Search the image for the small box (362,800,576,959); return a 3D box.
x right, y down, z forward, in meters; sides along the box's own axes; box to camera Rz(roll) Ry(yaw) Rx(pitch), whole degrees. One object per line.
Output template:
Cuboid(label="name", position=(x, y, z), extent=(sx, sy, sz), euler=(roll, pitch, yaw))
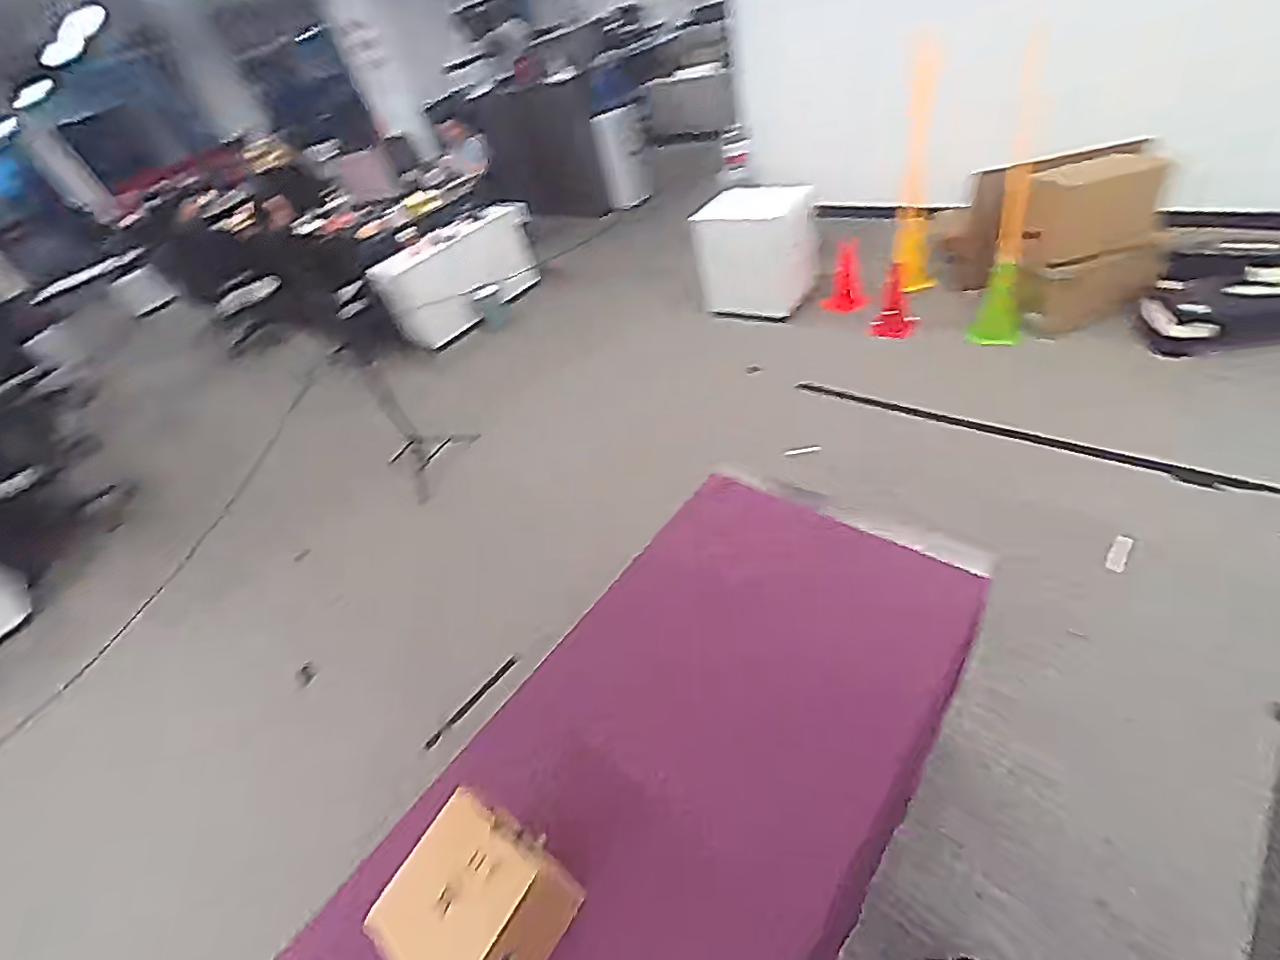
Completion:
Cuboid(label="small box", position=(-0.211, 0.574, 0.710), extent=(0.168, 0.176, 0.179), euler=(20, 54, 34))
